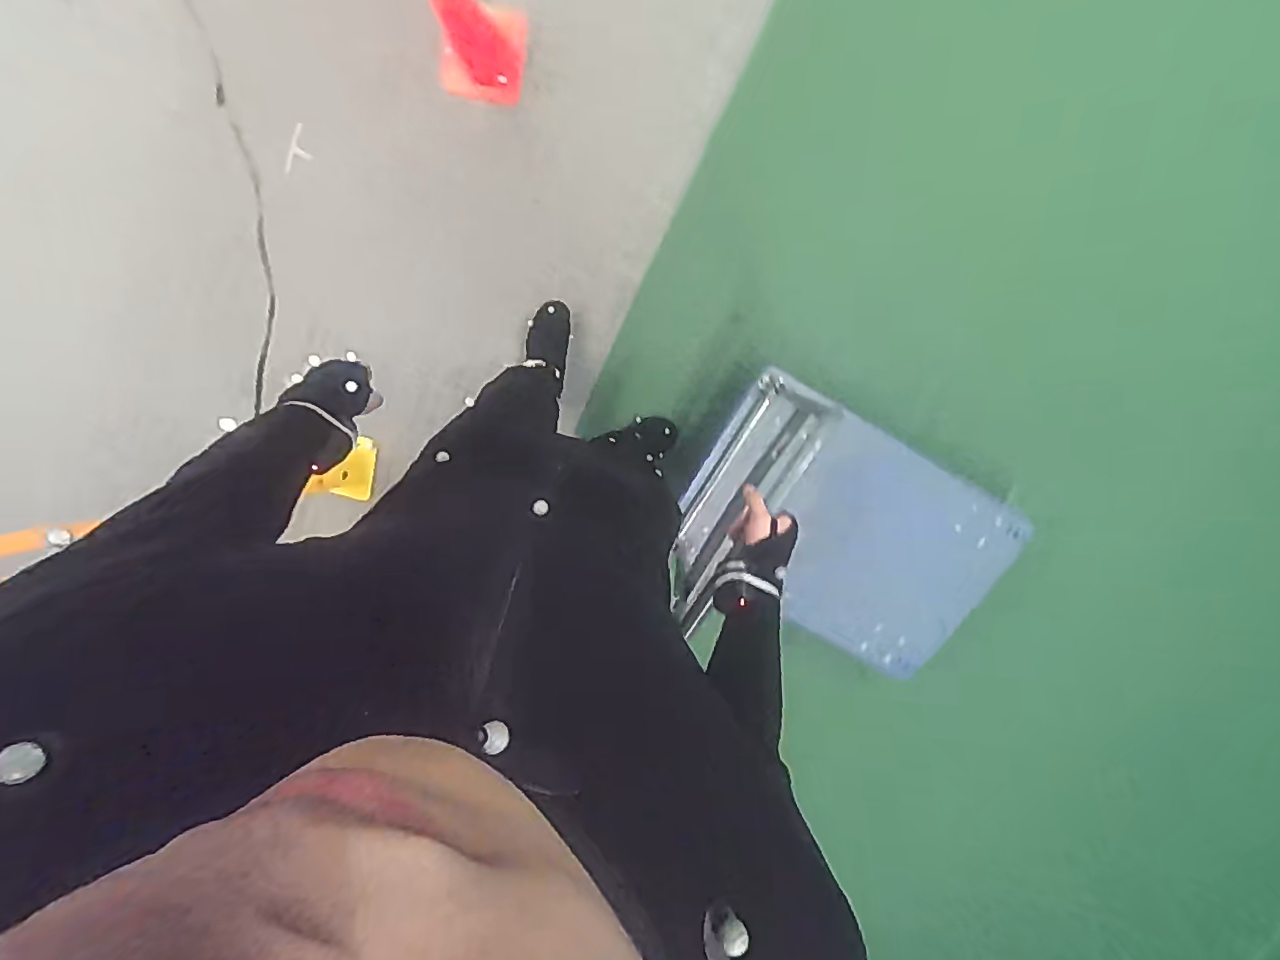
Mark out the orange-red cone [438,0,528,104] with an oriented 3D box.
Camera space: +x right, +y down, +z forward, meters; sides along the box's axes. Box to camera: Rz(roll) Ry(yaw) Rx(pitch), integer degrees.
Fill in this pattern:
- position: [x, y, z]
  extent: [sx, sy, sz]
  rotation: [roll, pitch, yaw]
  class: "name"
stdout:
- position: [-0.394, -1.033, 1.192]
  extent: [0.198, 0.360, 0.199]
  rotation: [12, 104, -2]
  class: "orange-red cone"
